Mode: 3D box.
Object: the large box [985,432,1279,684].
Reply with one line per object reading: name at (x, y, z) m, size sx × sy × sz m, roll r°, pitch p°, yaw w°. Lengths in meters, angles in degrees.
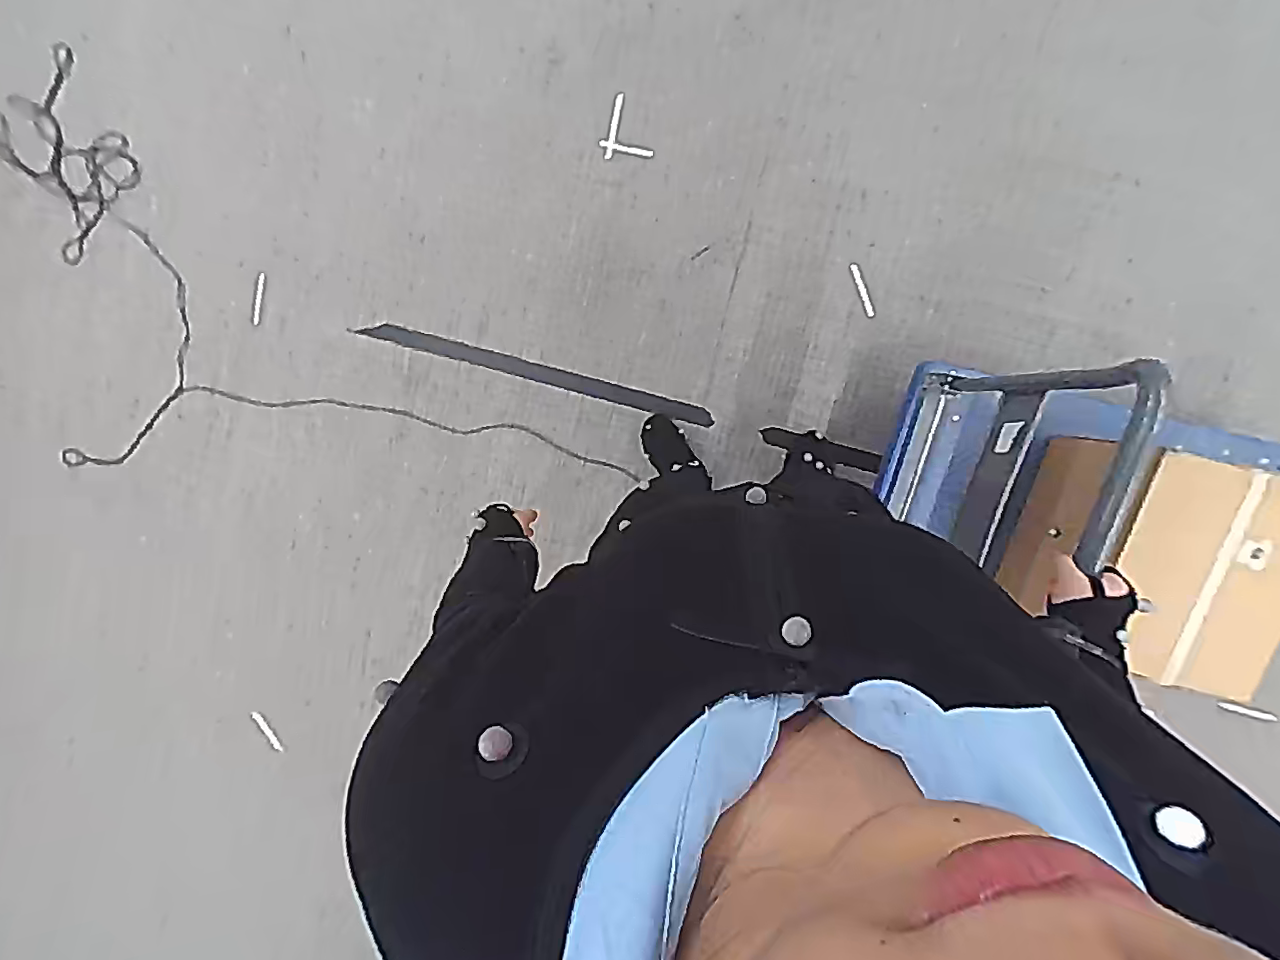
large box at (1.008, 0.136, 1.127) m, size 0.320 × 0.320 × 0.408 m, roll 15°, pitch 99°, yaw 2°
